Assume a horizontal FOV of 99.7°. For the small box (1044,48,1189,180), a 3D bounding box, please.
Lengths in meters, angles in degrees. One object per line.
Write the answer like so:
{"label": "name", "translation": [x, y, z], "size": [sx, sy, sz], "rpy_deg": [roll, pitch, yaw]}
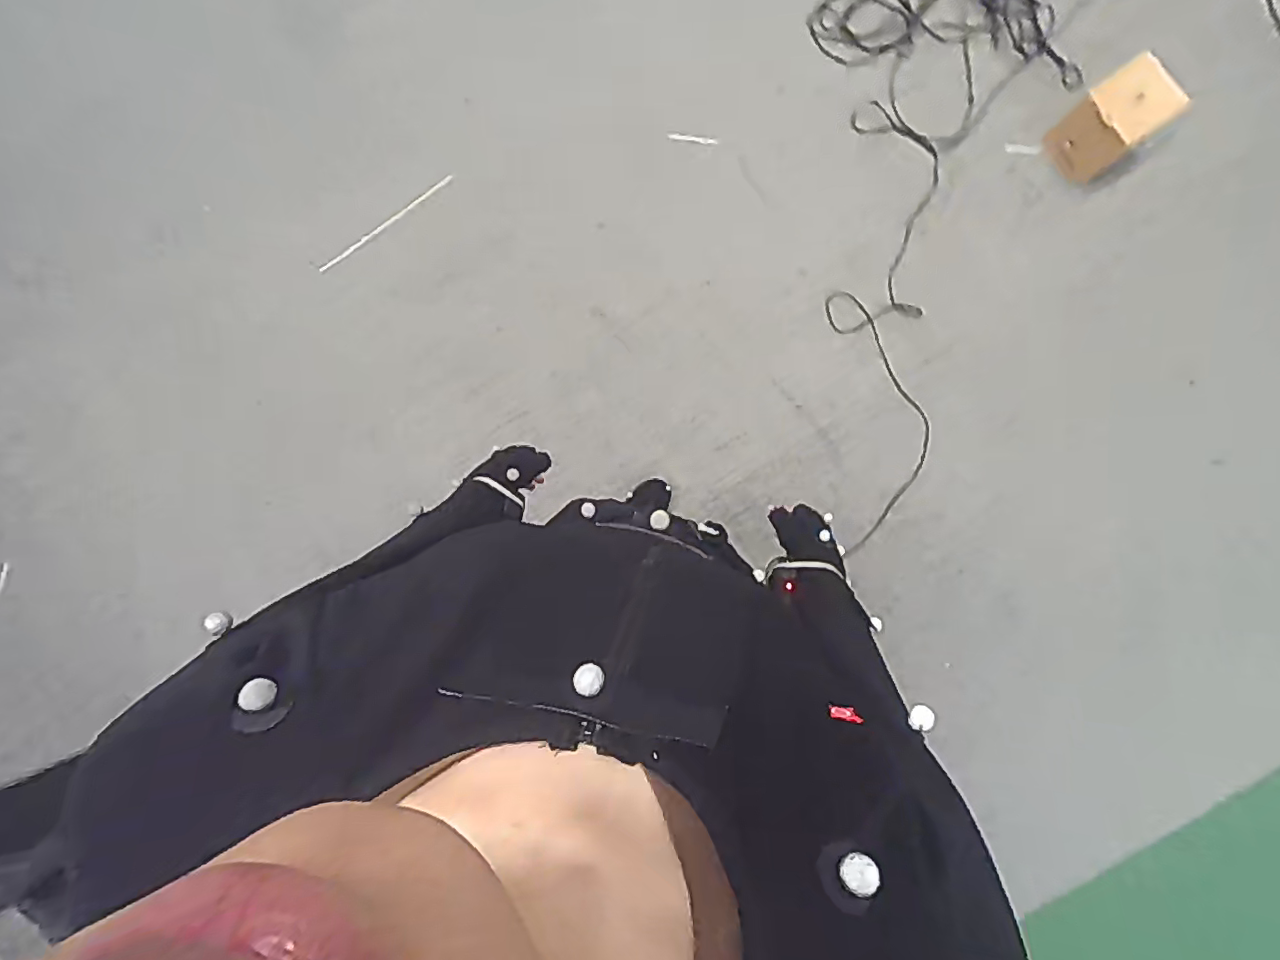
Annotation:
{"label": "small box", "translation": [1.179, -0.907, 1.355], "size": [0.179, 0.176, 0.168], "rpy_deg": [-35, 86, 3]}
